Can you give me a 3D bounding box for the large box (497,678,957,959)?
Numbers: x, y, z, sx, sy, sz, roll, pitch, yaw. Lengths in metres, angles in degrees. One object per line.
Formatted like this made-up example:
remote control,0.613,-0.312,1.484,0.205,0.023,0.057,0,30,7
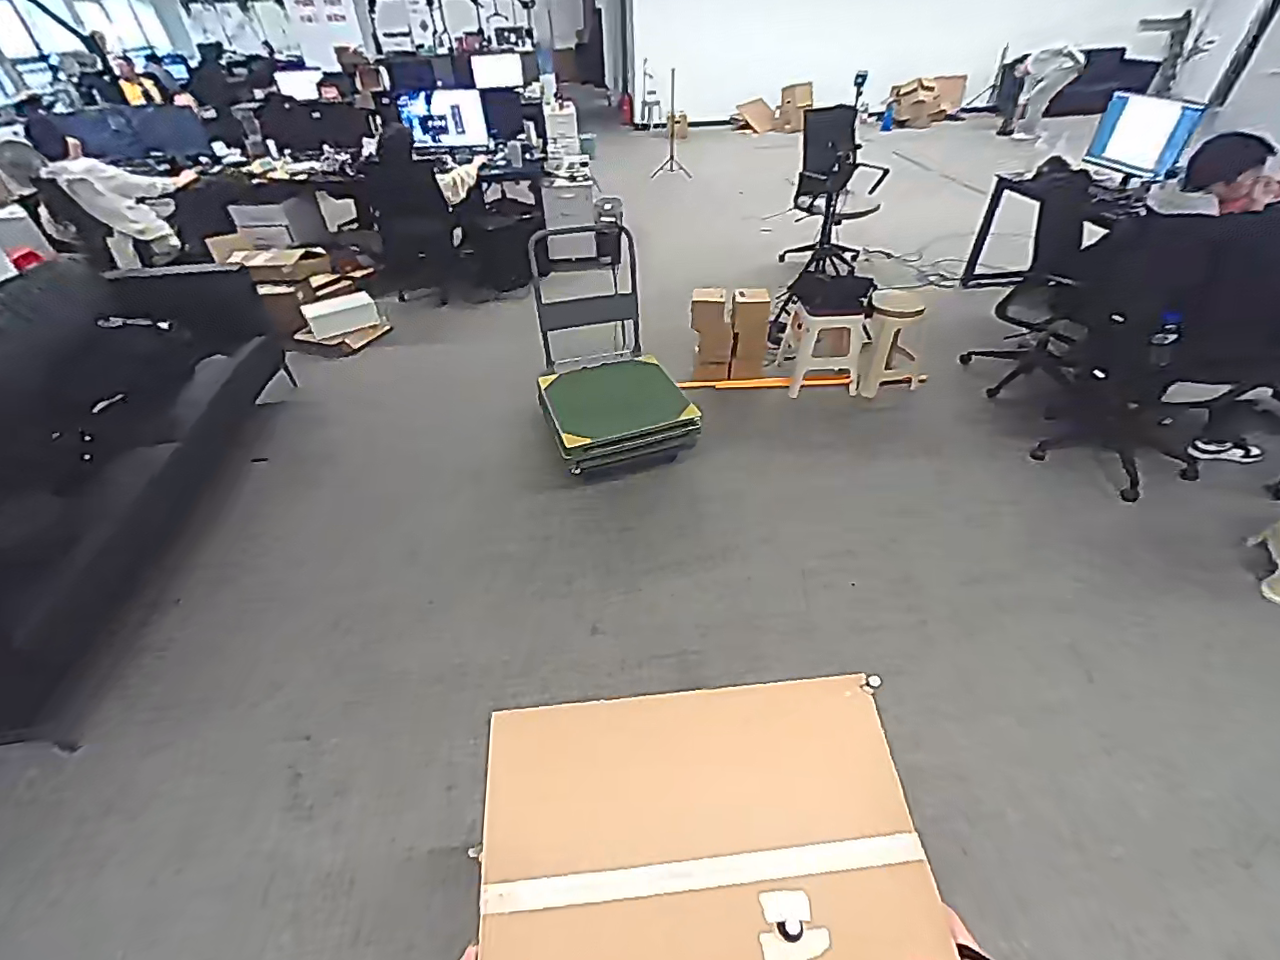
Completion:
large box,0.066,0.450,0.621,0.408,0.320,0.320,-6,56,-4
